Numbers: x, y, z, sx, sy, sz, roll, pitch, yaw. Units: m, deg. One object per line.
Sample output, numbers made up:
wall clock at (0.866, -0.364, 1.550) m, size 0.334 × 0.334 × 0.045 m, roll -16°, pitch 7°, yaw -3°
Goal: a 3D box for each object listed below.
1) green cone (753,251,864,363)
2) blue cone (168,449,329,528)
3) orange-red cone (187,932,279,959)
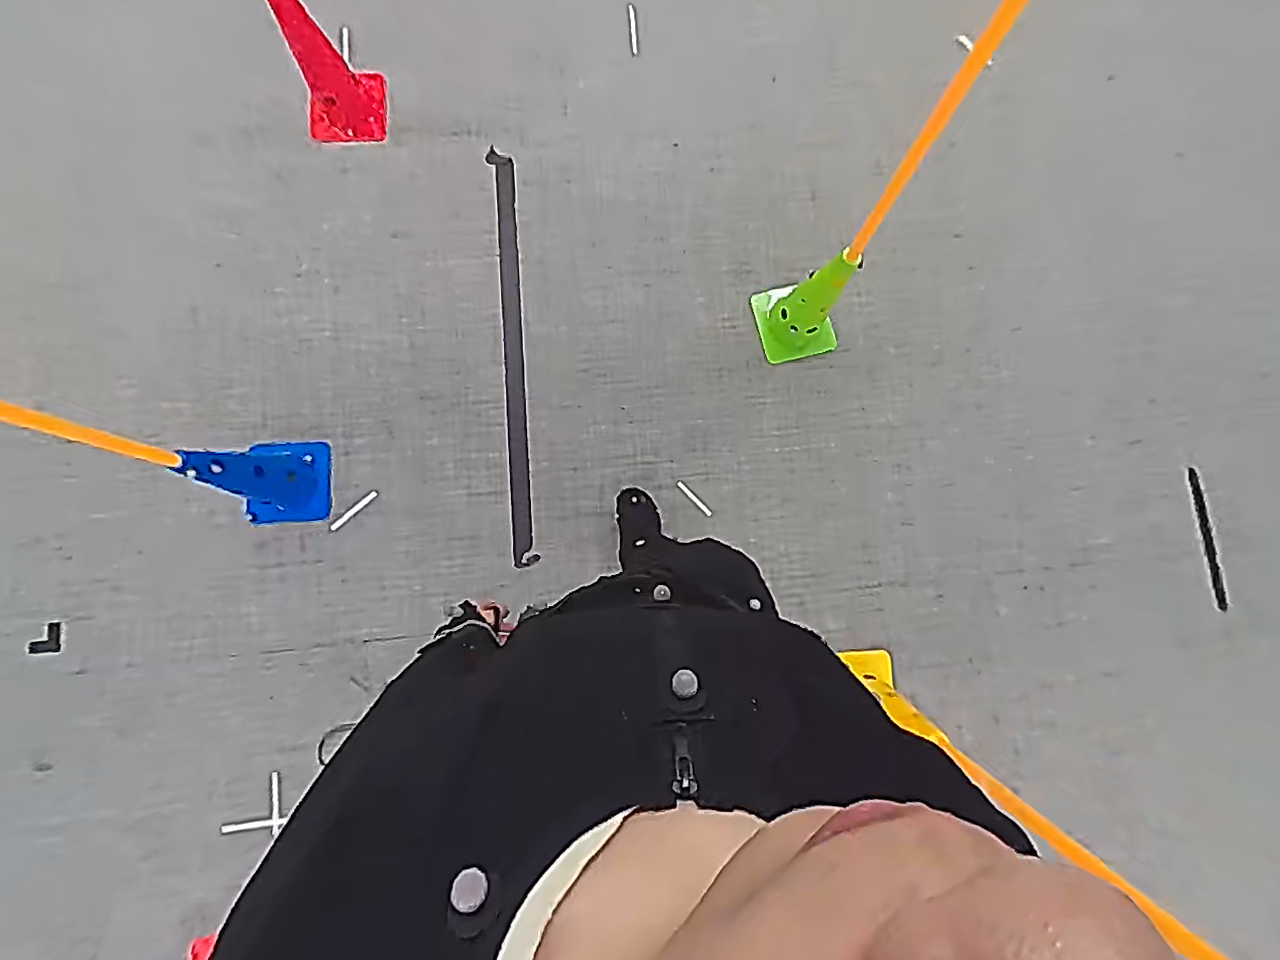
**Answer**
green cone at (0.426, -0.441, 1.286) m, size 0.200 × 0.368 × 0.202 m, roll -15°, pitch 86°, yaw -4°
blue cone at (-0.861, 0.002, 1.178) m, size 0.193 × 0.380 × 0.192 m, roll -2°, pitch 84°, yaw -3°
orange-red cone at (-0.885, 1.102, 1.029) m, size 0.199 × 0.360 × 0.198 m, roll -9°, pitch 84°, yaw -5°
